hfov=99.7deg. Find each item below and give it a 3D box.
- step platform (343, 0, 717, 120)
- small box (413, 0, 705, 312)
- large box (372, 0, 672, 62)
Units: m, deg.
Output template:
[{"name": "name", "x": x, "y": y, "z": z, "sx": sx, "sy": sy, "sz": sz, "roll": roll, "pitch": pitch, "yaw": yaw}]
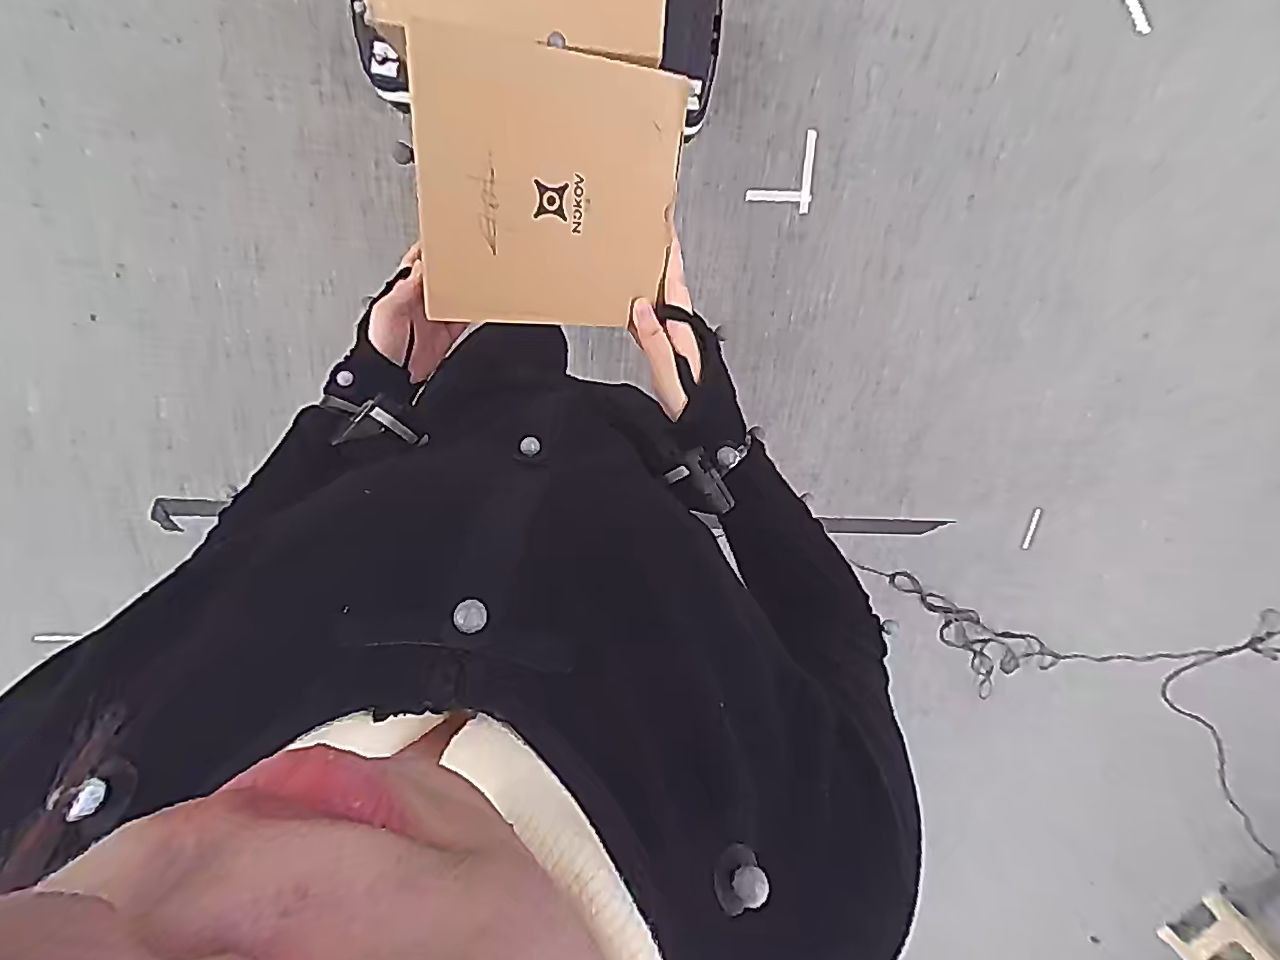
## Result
[{"name": "step platform", "x": -0.196, "y": -0.870, "z": 1.048, "sx": 0.684, "sy": 0.204, "sz": 0.286, "roll": 8, "pitch": 110, "yaw": -7}, {"name": "small box", "x": -0.076, "y": -0.235, "z": 0.415, "sx": 0.179, "sy": 0.176, "sz": 0.168, "roll": -3, "pitch": 119, "yaw": -21}, {"name": "large box", "x": -0.158, "y": -0.798, "z": 0.822, "sx": 0.408, "sy": 0.320, "sz": 0.320, "roll": 3, "pitch": 110, "yaw": -5}]
